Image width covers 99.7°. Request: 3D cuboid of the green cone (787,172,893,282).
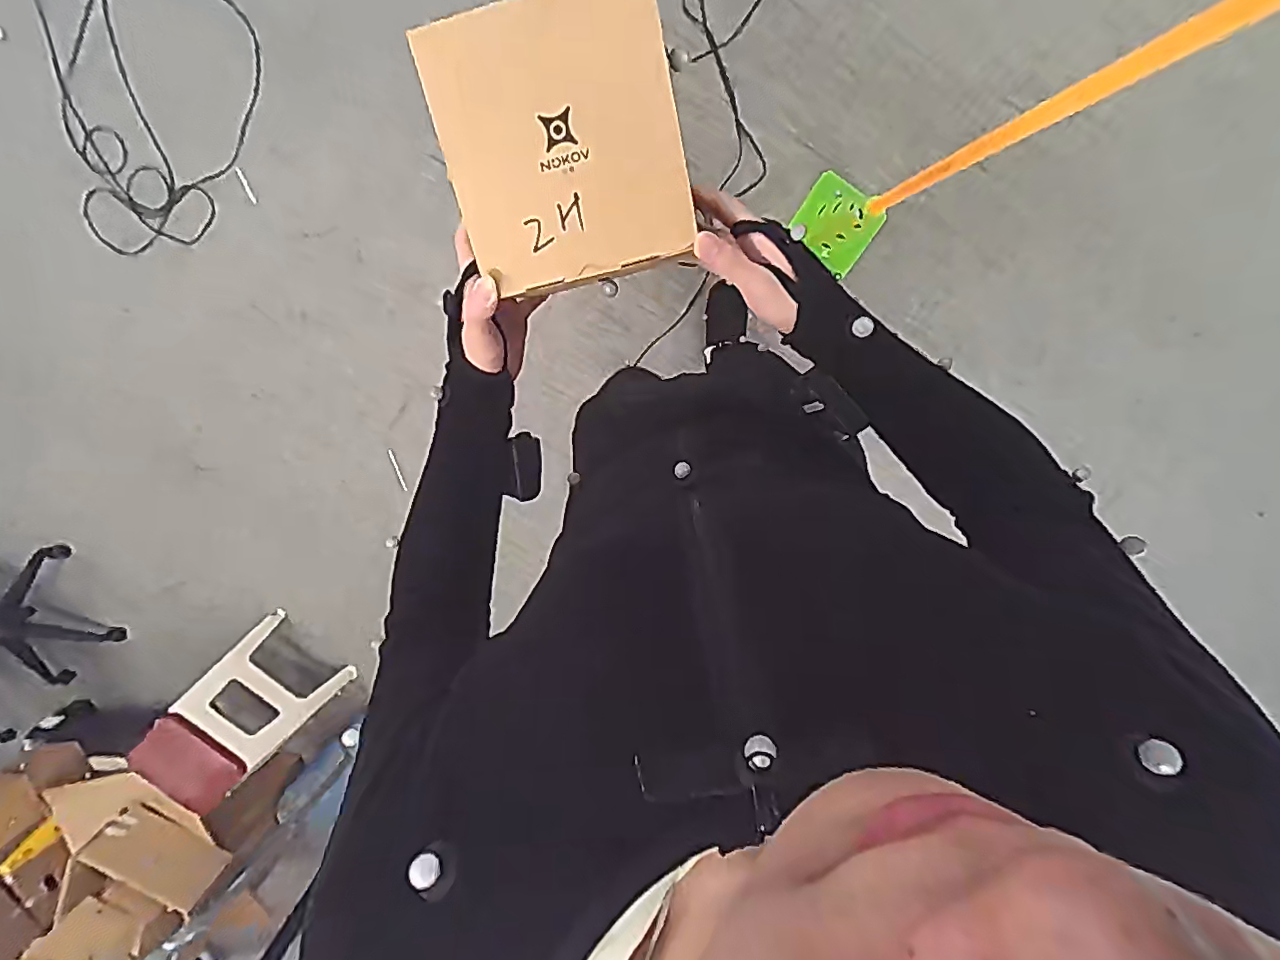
[{"bbox_3d":[0.483,-0.586,1.201,0.202,0.368,0.200,33,108,-4],"label":"green cone"}]
